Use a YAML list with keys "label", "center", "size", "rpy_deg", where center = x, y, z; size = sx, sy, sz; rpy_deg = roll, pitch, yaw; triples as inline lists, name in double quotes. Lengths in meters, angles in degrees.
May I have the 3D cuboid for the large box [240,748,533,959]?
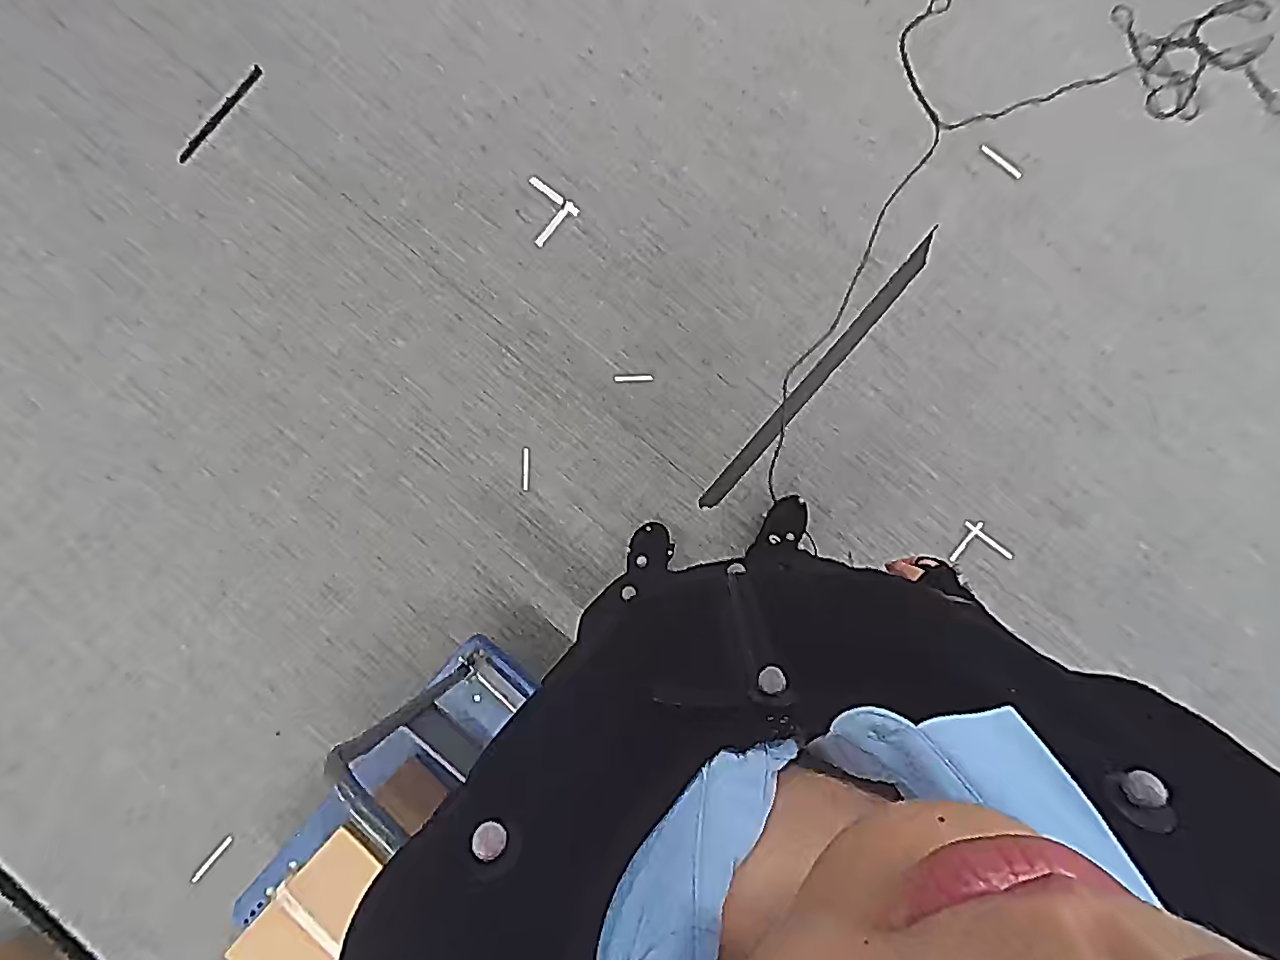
- label: "large box"
  center: [-0.498, 0.872, 1.147]
  size: [0.408, 0.320, 0.320]
  rpy_deg: [42, 88, 3]
